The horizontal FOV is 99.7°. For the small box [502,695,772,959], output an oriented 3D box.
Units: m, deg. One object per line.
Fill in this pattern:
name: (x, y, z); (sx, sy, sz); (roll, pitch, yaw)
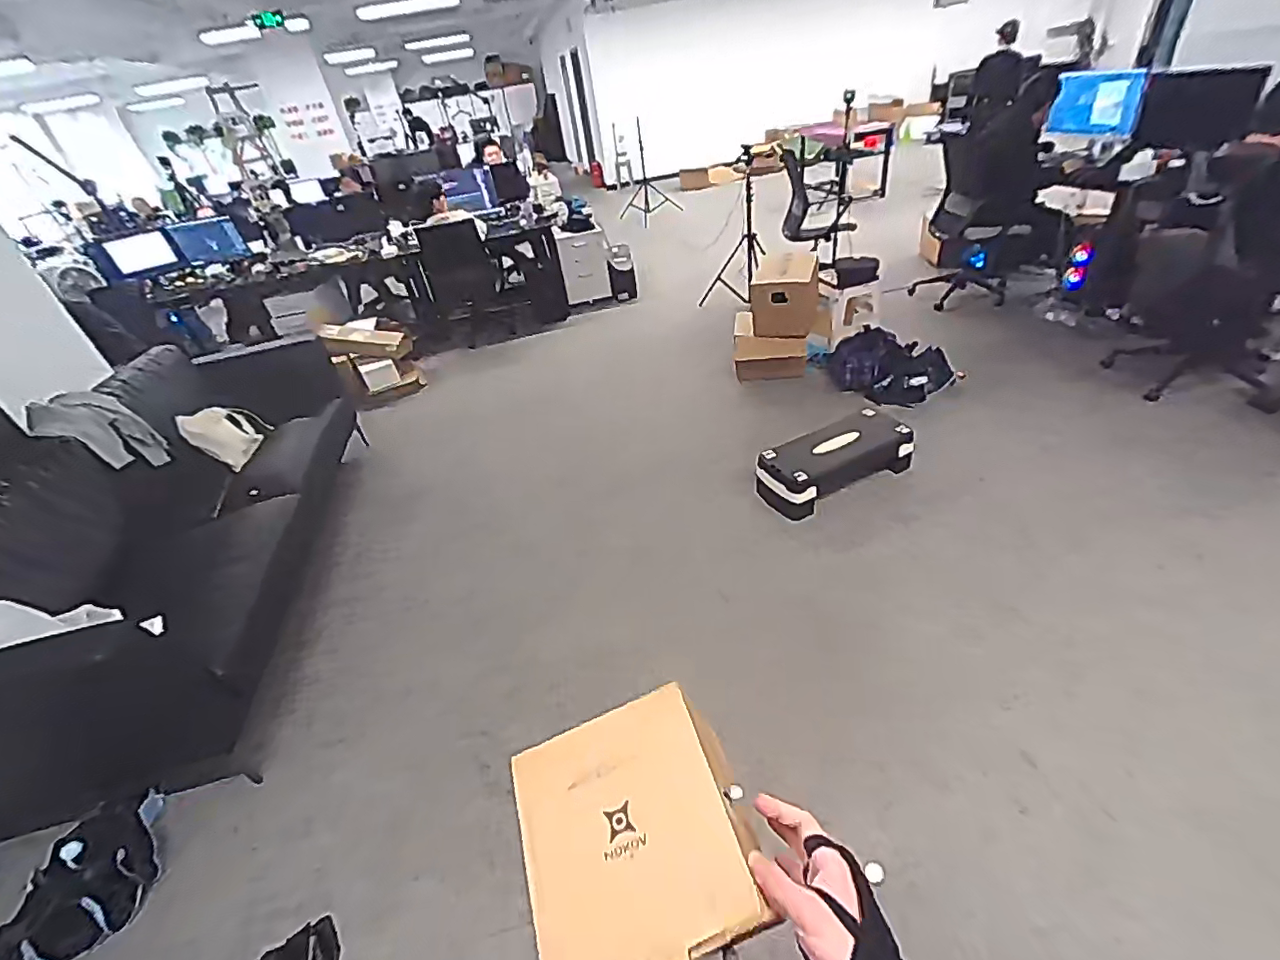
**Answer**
small box: (0.000, 0.326, 0.476); (0.168, 0.176, 0.179); (-25, 46, 1)
